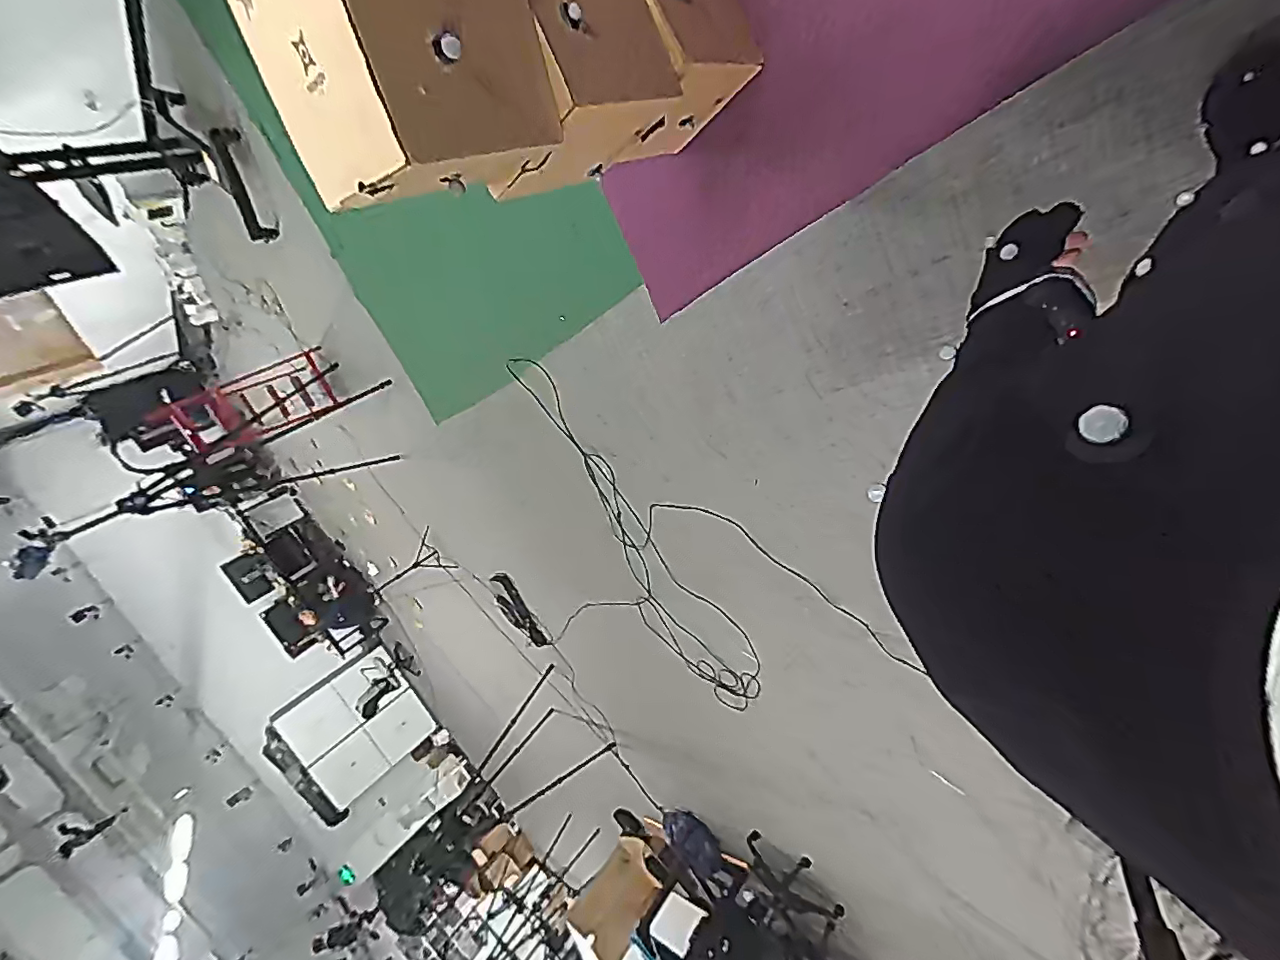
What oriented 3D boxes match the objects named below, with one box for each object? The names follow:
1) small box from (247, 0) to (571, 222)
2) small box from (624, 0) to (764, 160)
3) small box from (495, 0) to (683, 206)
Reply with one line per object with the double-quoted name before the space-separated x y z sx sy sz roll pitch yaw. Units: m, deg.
"small box" -0.187 -0.350 0.472 0.168 0.176 0.179 10 128 40
"small box" 0.017 -0.524 0.662 0.168 0.176 0.179 -18 106 51
"small box" -0.083 -0.428 0.573 0.168 0.176 0.179 -11 111 49
